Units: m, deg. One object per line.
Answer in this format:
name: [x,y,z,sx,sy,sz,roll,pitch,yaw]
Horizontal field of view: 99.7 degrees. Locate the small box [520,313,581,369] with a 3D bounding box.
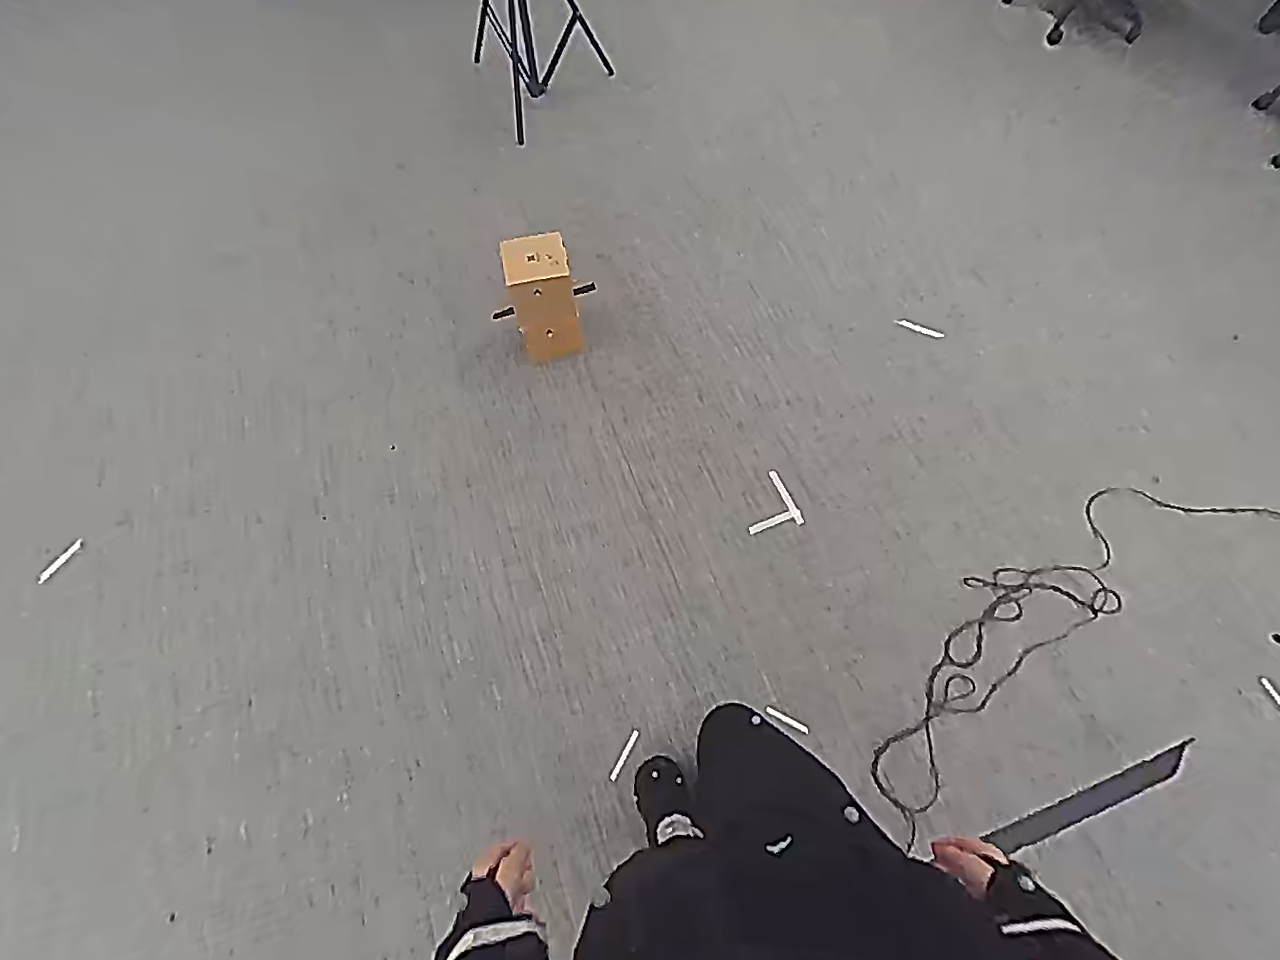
small box: [-0.286,-0.475,1.705,0.179,0.176,0.168,-14,66,-6]

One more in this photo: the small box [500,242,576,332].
small box: [-0.290,-0.549,1.558,0.179,0.176,0.168,-12,67,-5]
